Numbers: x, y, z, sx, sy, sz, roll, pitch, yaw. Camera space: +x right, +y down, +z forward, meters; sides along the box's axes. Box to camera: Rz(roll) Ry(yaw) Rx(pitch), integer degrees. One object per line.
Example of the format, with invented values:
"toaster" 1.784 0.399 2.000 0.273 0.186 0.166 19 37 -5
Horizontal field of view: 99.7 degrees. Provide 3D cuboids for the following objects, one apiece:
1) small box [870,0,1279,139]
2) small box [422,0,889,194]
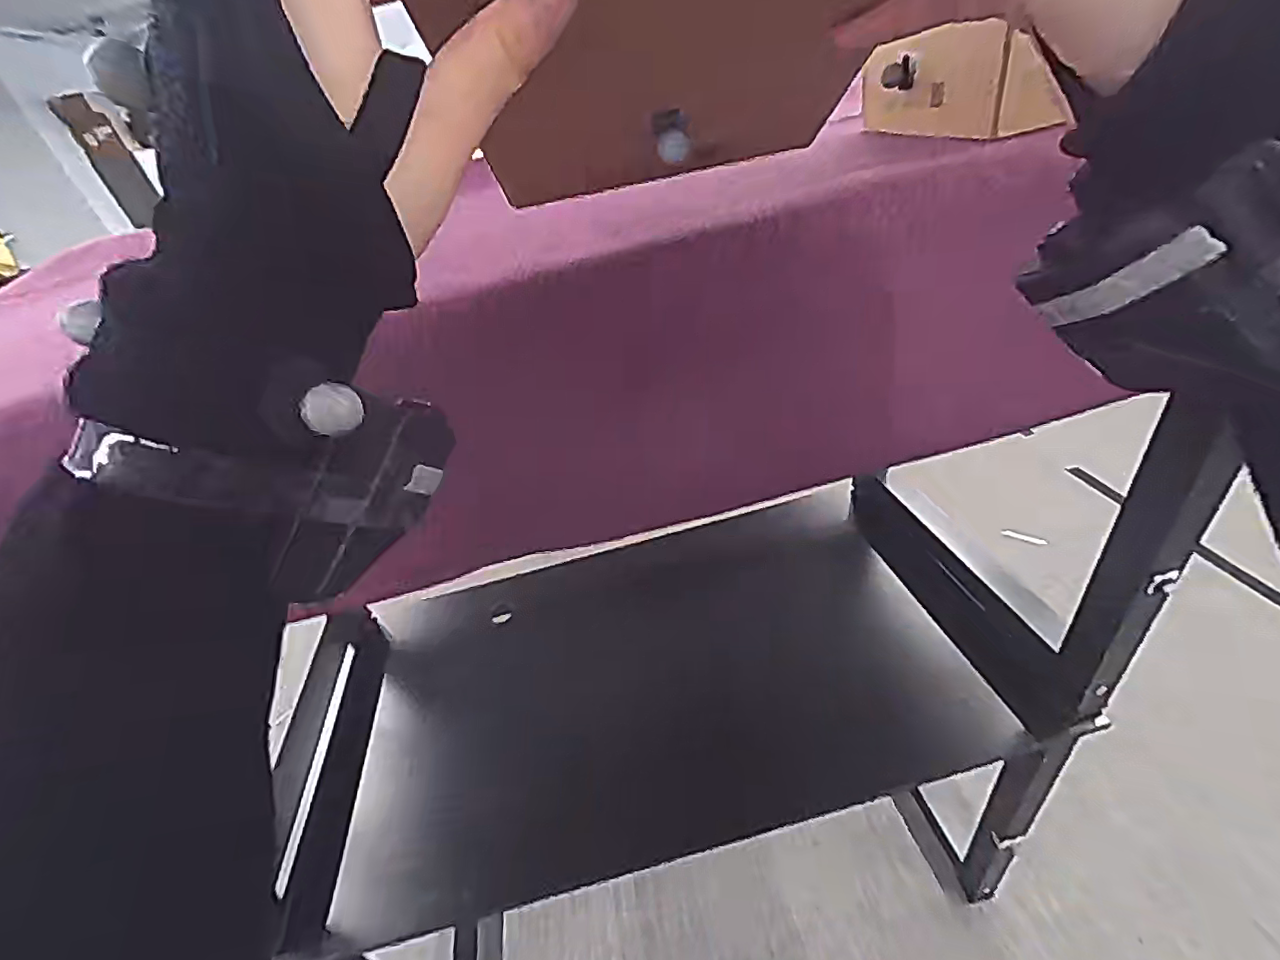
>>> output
"small box" 0.263 -0.331 0.334 0.179 0.176 0.168 -15 35 0
"small box" -0.005 -0.238 0.192 0.168 0.179 0.176 -12 6 0
